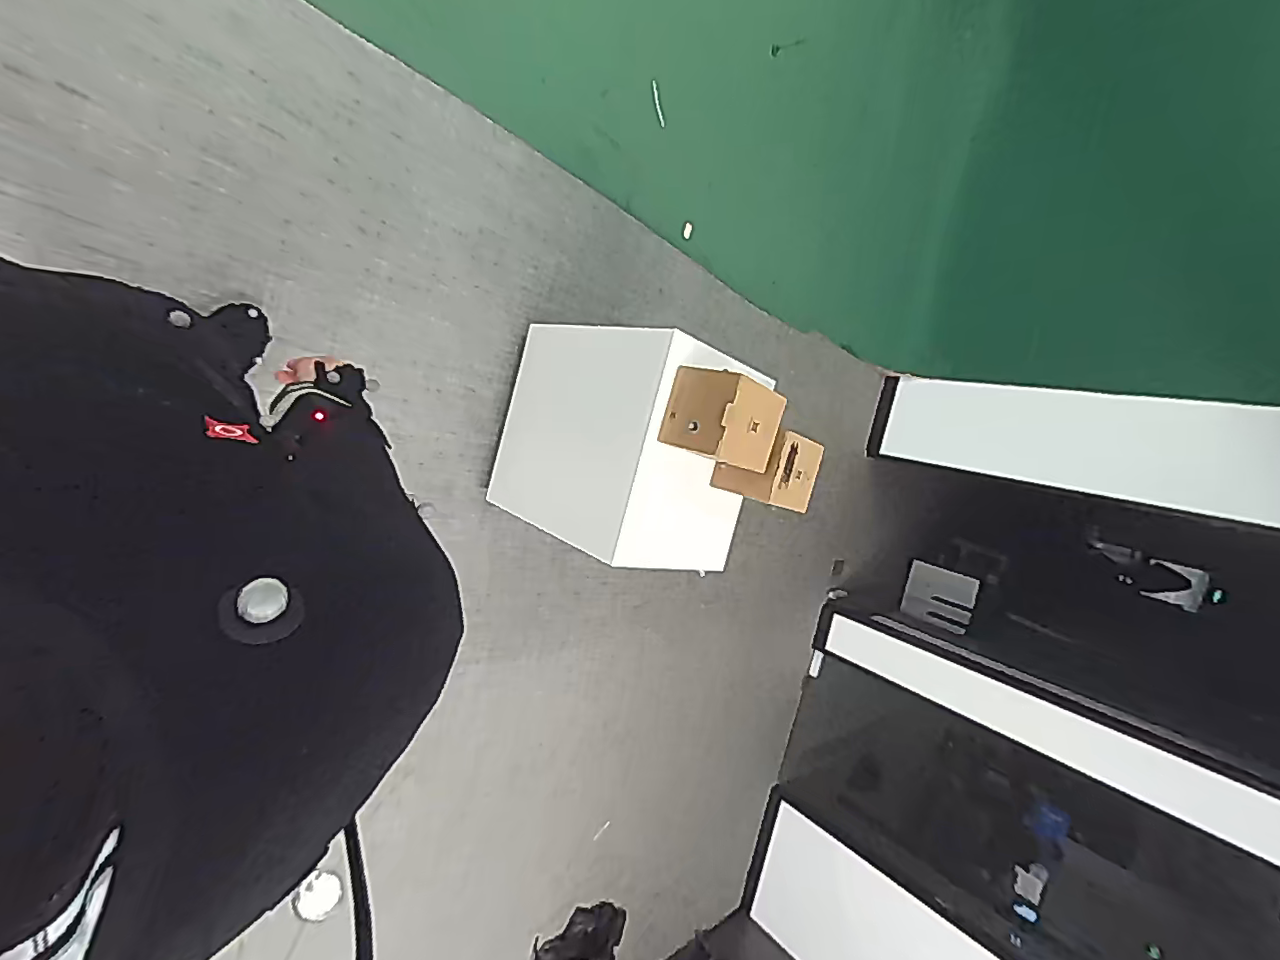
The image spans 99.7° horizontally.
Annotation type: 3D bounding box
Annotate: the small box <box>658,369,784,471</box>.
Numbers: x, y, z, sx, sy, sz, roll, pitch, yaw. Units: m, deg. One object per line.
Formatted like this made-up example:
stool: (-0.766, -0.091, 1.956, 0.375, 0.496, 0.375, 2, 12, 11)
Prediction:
small box: (0.165, -0.127, 1.125, 0.179, 0.176, 0.168, 13, 95, -47)
